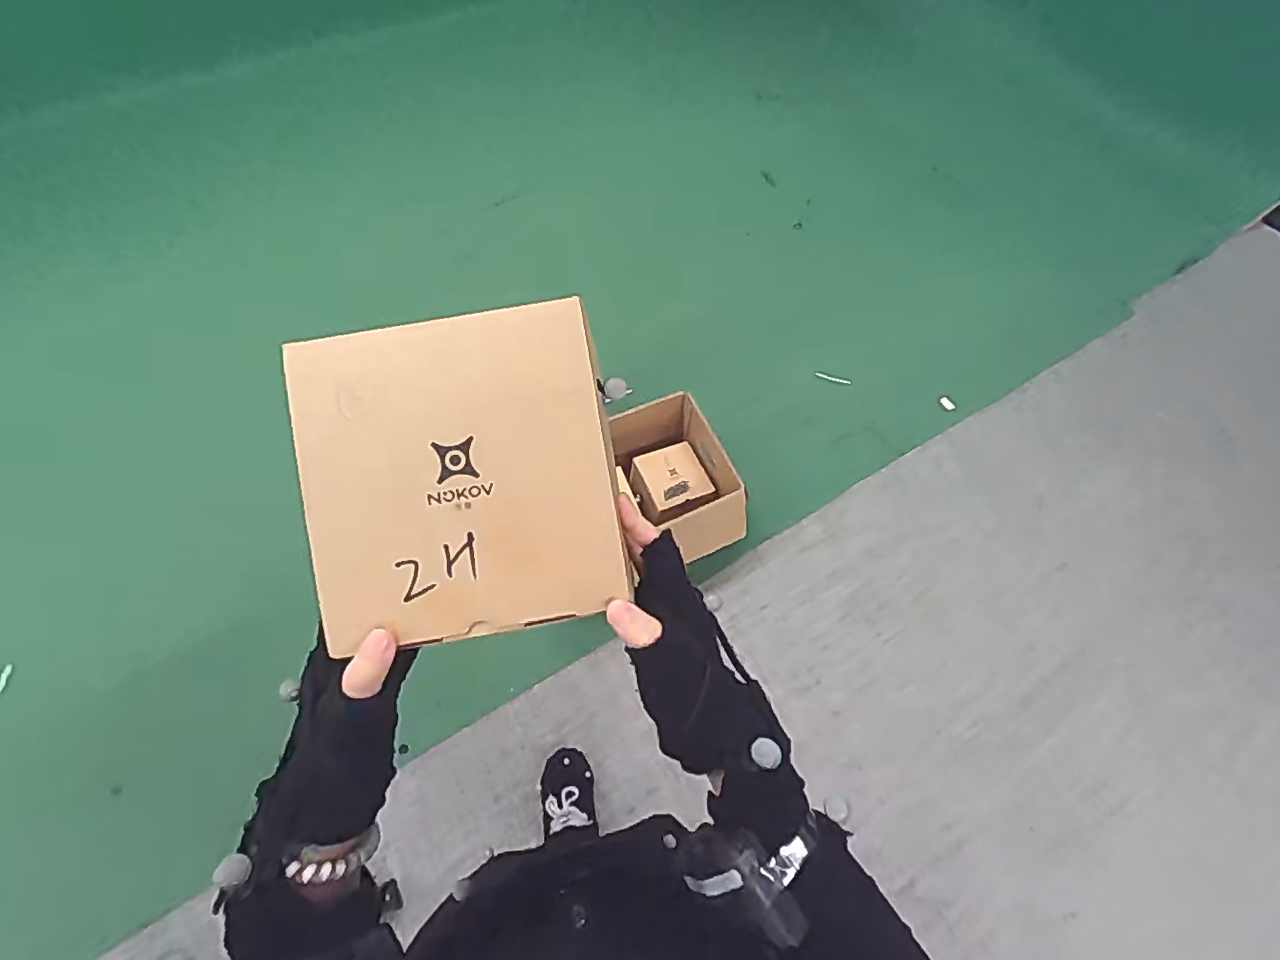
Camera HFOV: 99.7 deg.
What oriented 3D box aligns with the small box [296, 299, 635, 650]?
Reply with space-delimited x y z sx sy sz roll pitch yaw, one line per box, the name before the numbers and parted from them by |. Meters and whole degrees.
small box | -0.097 0.000 0.373 0.168 0.176 0.179 -9 88 -1
